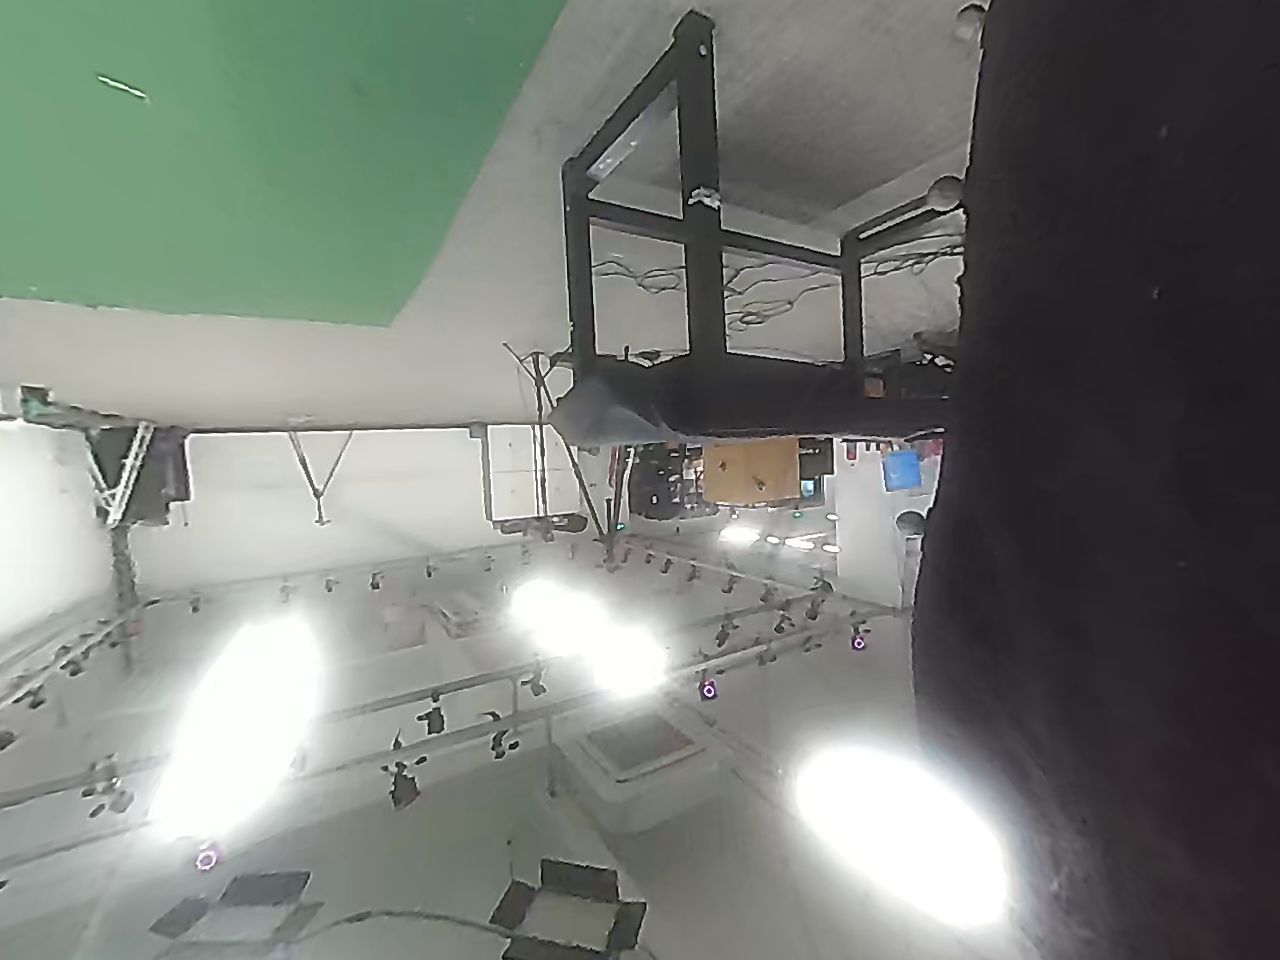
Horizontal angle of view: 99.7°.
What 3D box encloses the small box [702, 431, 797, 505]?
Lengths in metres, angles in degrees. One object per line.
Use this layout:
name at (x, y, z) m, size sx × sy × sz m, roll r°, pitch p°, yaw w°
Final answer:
small box at (0.267, -0.031, 1.349) m, size 0.179 × 0.176 × 0.168 m, roll -4°, pitch -177°, yaw -30°
